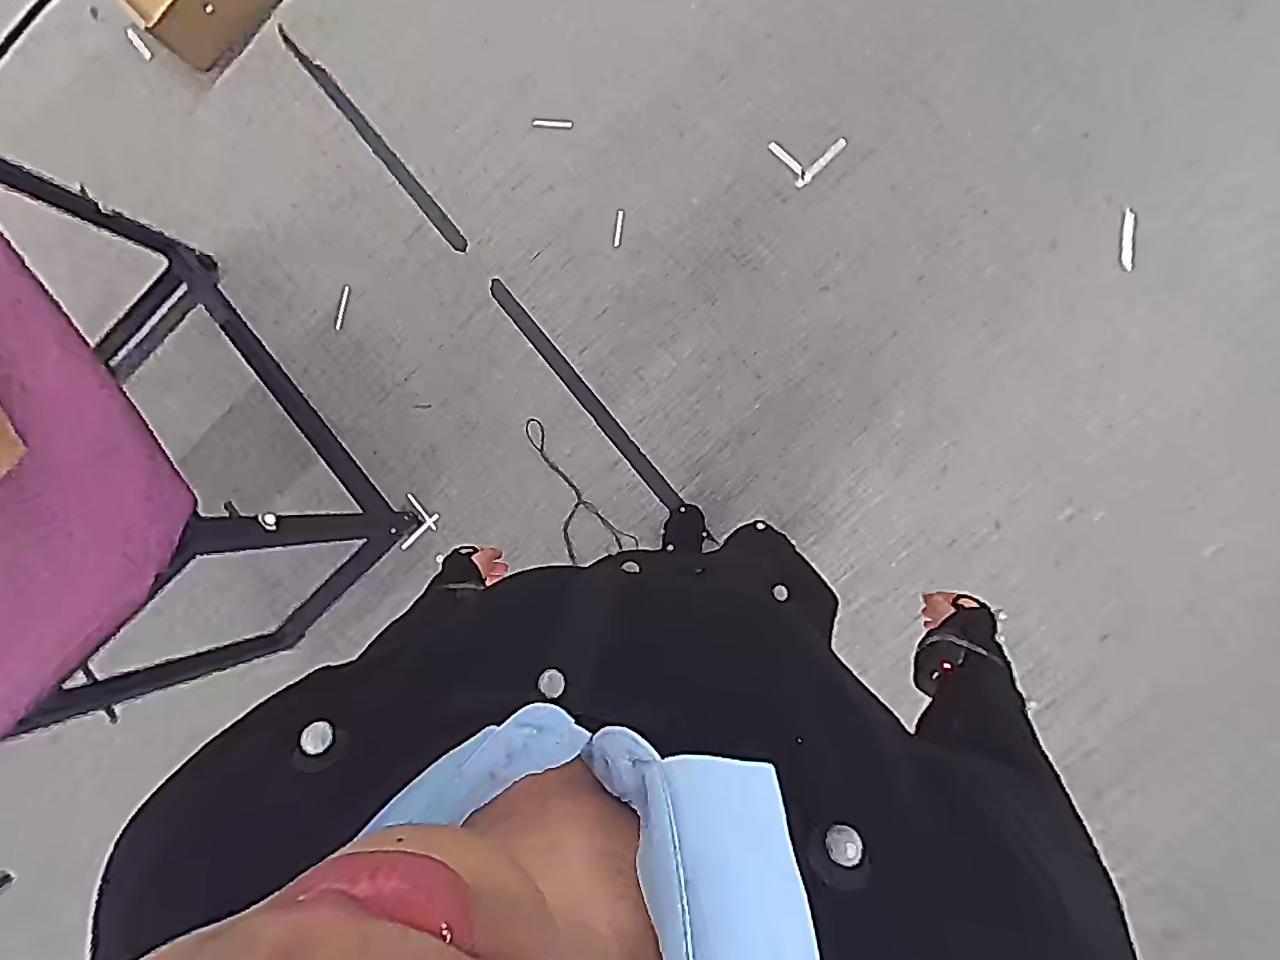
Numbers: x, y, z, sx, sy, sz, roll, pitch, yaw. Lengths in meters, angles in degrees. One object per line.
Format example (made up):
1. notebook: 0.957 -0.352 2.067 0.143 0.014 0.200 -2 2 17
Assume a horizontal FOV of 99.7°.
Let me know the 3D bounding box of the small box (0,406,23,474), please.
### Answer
1. small box: -1.214 -0.075 0.898 0.168 0.176 0.179 -40 82 6
